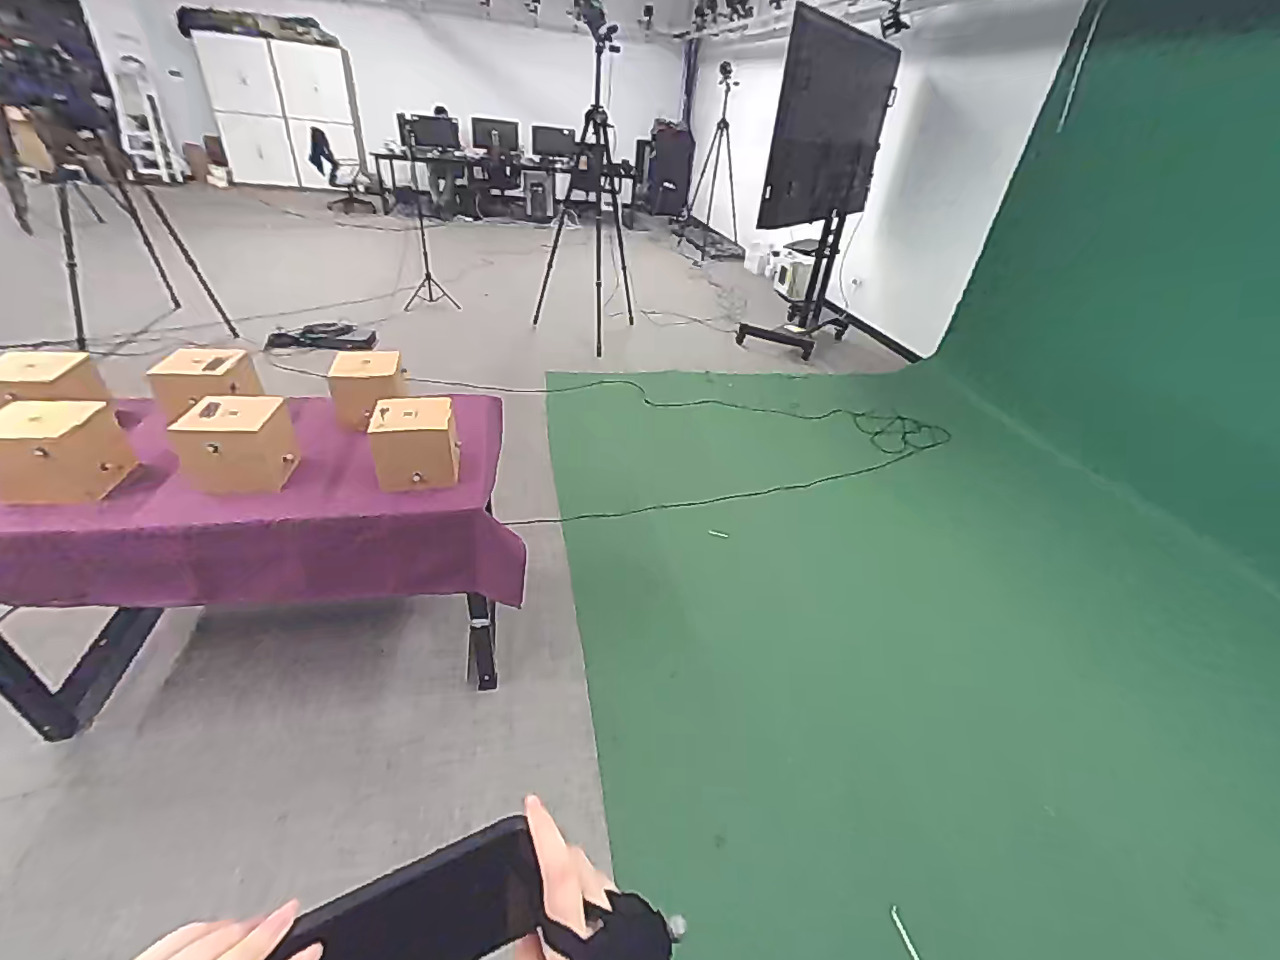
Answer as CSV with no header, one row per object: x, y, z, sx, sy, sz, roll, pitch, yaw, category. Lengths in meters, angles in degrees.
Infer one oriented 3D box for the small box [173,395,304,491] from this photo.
-0.930,-0.087,1.273,0.179,0.176,0.168,0,35,-10,small box

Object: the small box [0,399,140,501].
-1.272,-0.065,1.187,0.179,0.176,0.168,0,35,-12,small box

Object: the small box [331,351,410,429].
-0.761,-0.258,1.548,0.168,0.176,0.179,-4,36,-14,small box

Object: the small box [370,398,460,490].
-0.545,-0.090,1.337,0.179,0.176,0.168,-3,35,-13,small box
